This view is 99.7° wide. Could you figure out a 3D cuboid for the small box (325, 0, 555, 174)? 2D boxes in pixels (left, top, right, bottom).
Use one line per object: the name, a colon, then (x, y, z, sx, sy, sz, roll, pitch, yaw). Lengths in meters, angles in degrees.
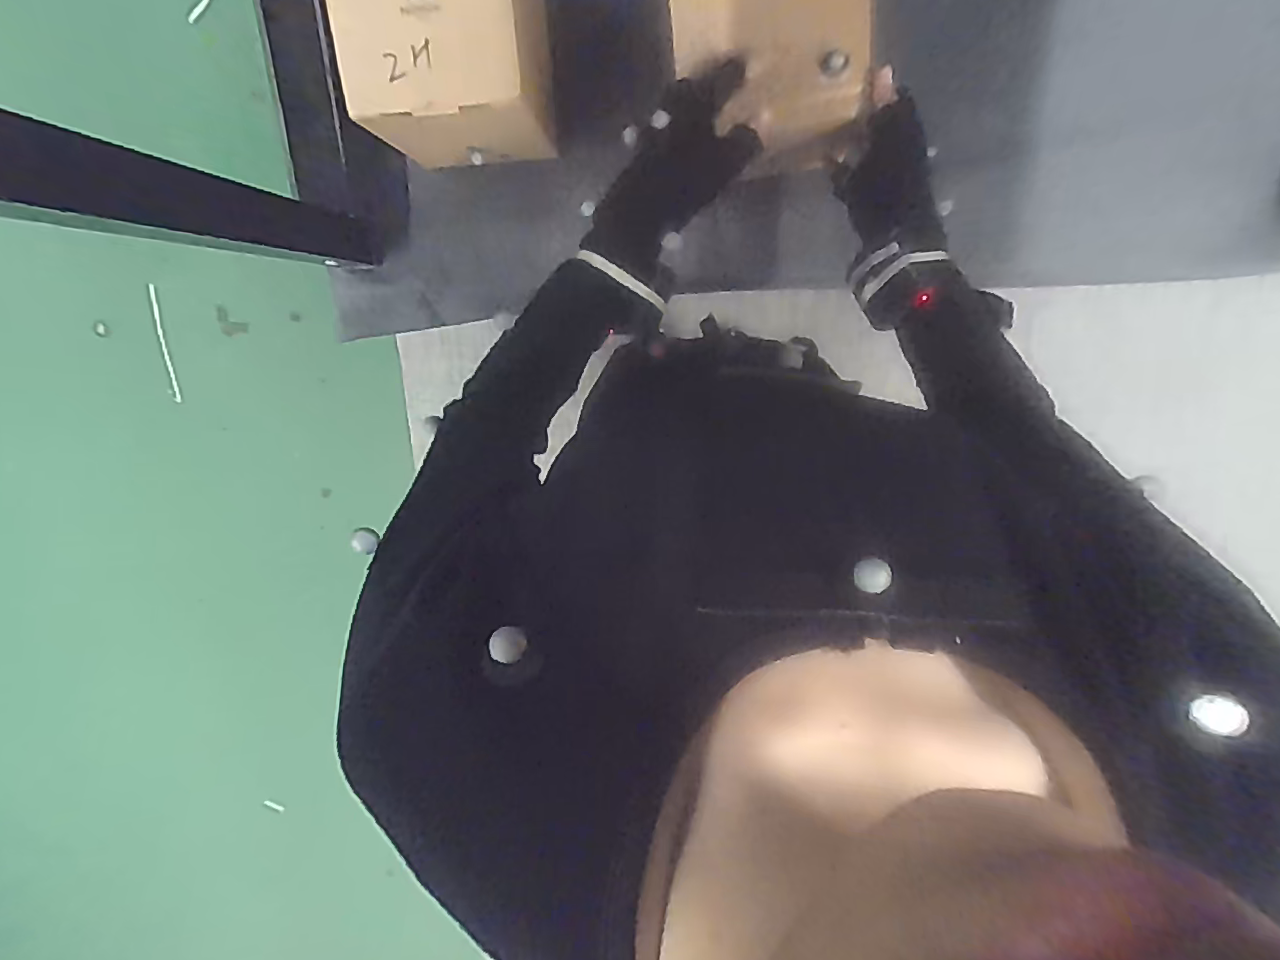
small box: (-0.188, -0.434, 0.546, 0.168, 0.176, 0.179, -2, 105, 4)
